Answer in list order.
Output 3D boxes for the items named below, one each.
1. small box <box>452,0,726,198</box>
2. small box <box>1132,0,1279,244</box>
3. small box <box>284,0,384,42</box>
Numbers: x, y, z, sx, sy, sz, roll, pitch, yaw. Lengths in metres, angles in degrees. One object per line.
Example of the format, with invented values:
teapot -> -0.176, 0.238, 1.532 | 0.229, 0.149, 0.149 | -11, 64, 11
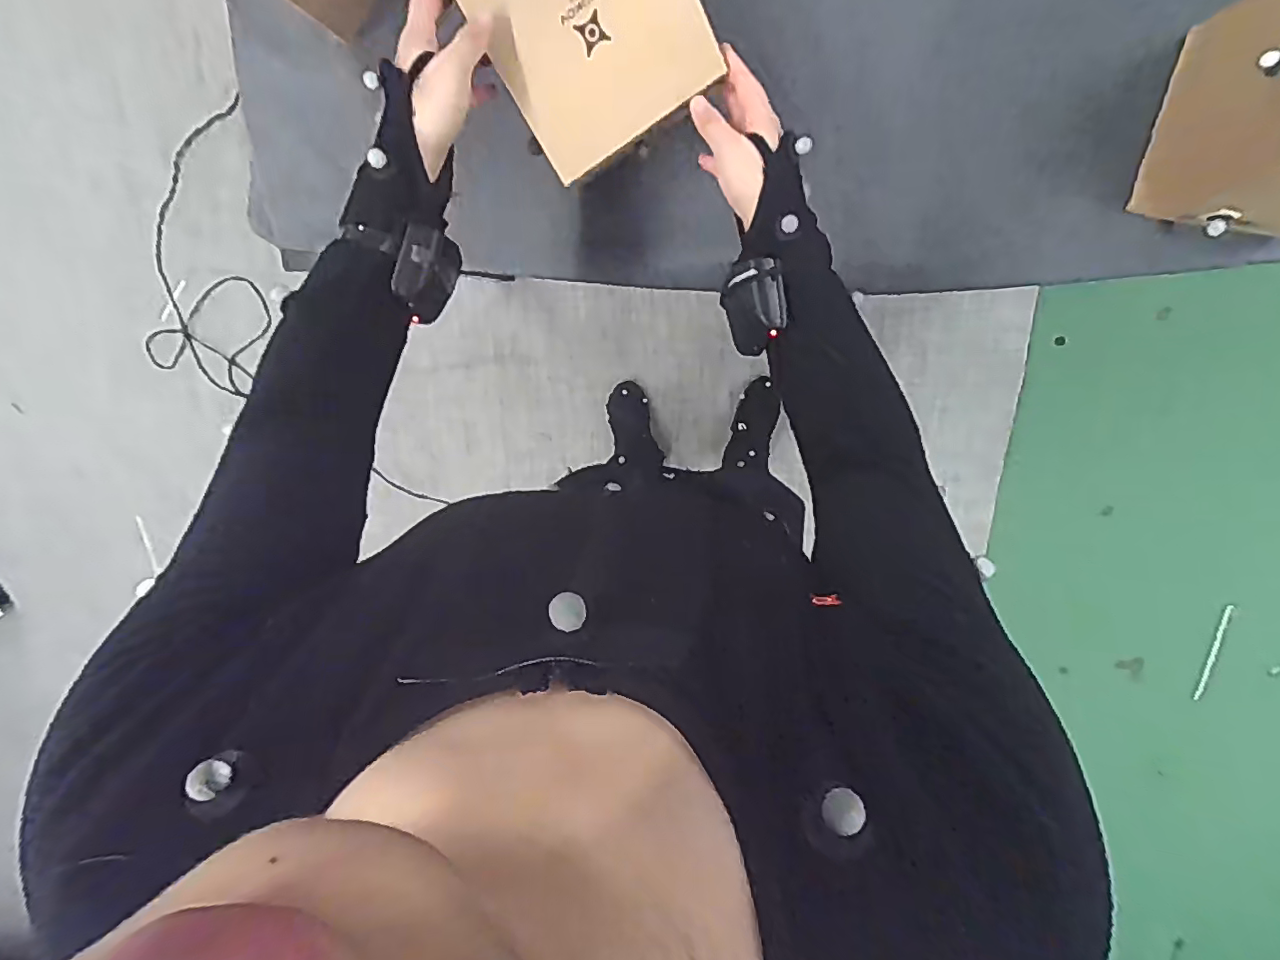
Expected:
small box -> -0.037, -0.395, 0.501 | 0.168, 0.176, 0.179 | -28, 115, 16
small box -> 0.609, -0.330, 0.486 | 0.168, 0.176, 0.179 | 10, 105, 4
small box -> -0.342, -0.569, 0.501 | 0.179, 0.176, 0.168 | 40, 107, -8
